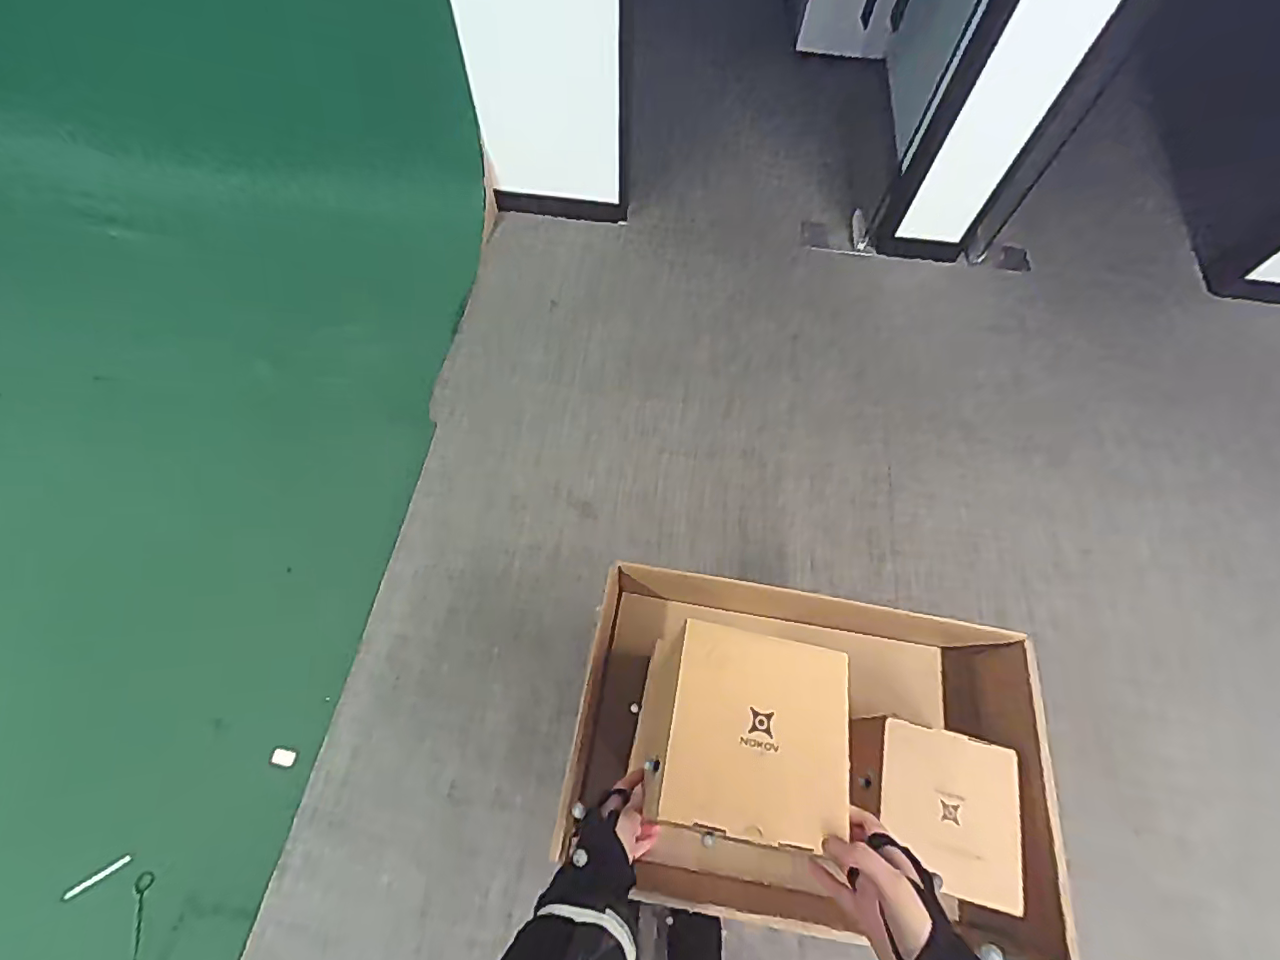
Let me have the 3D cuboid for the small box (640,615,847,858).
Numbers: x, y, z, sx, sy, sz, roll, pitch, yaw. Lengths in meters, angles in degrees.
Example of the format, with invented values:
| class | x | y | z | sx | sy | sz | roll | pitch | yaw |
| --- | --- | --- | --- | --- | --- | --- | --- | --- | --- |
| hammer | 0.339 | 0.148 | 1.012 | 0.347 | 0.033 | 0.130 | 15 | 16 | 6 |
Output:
| class | x | y | z | sx | sy | sz | roll | pitch | yaw |
| --- | --- | --- | --- | --- | --- | --- | --- | --- | --- |
| small box | 0.099 | 0.264 | 0.562 | 0.168 | 0.176 | 0.179 | 13 | 60 | 1 |
